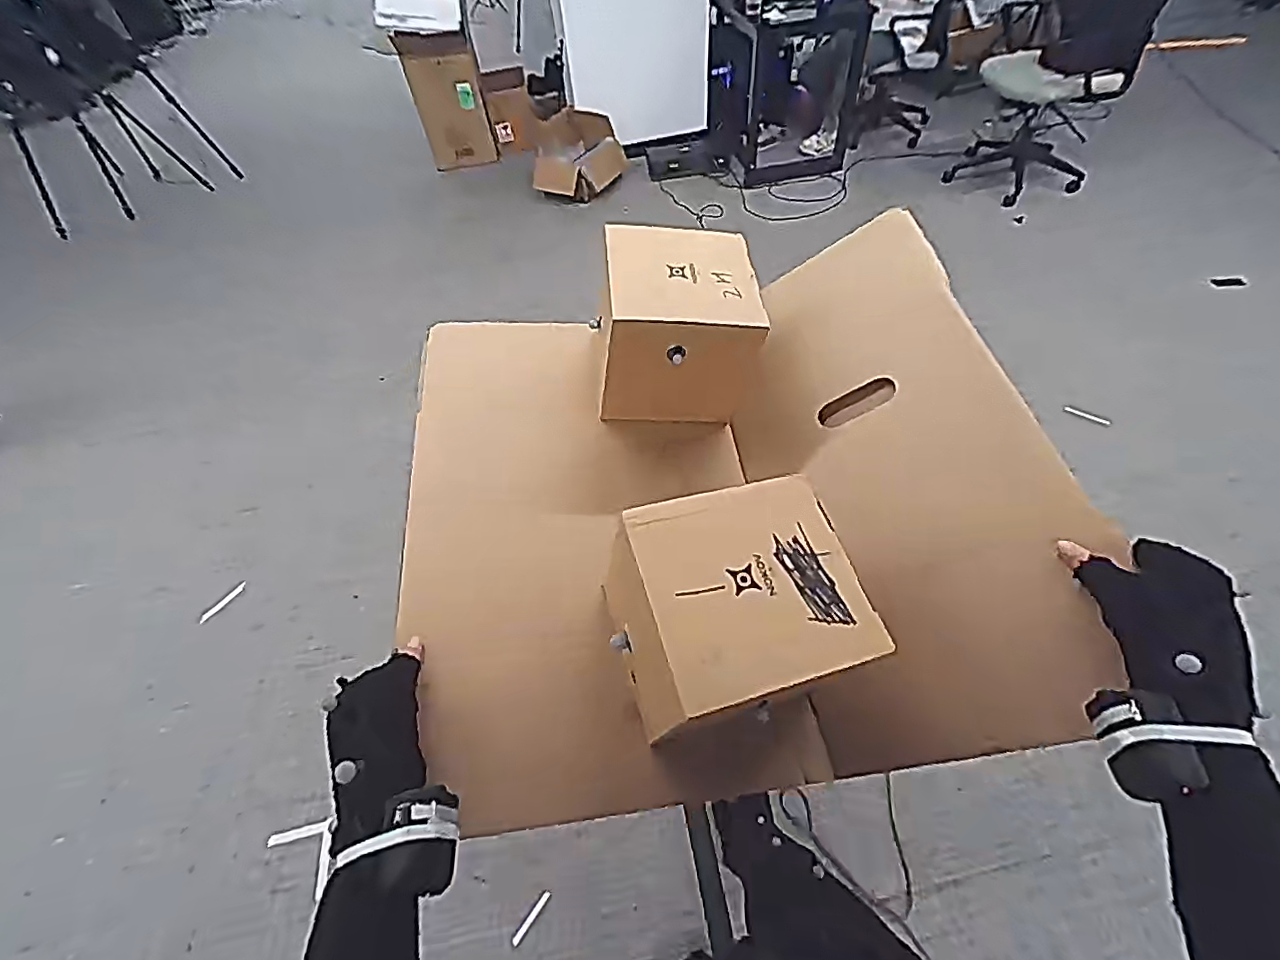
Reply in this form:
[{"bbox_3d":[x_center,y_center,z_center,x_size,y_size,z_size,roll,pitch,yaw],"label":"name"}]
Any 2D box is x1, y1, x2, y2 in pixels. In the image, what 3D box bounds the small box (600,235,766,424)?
[{"bbox_3d":[0.040,-0.186,0.695,0.179,0.176,0.168,1,58,-9],"label":"small box"}]
